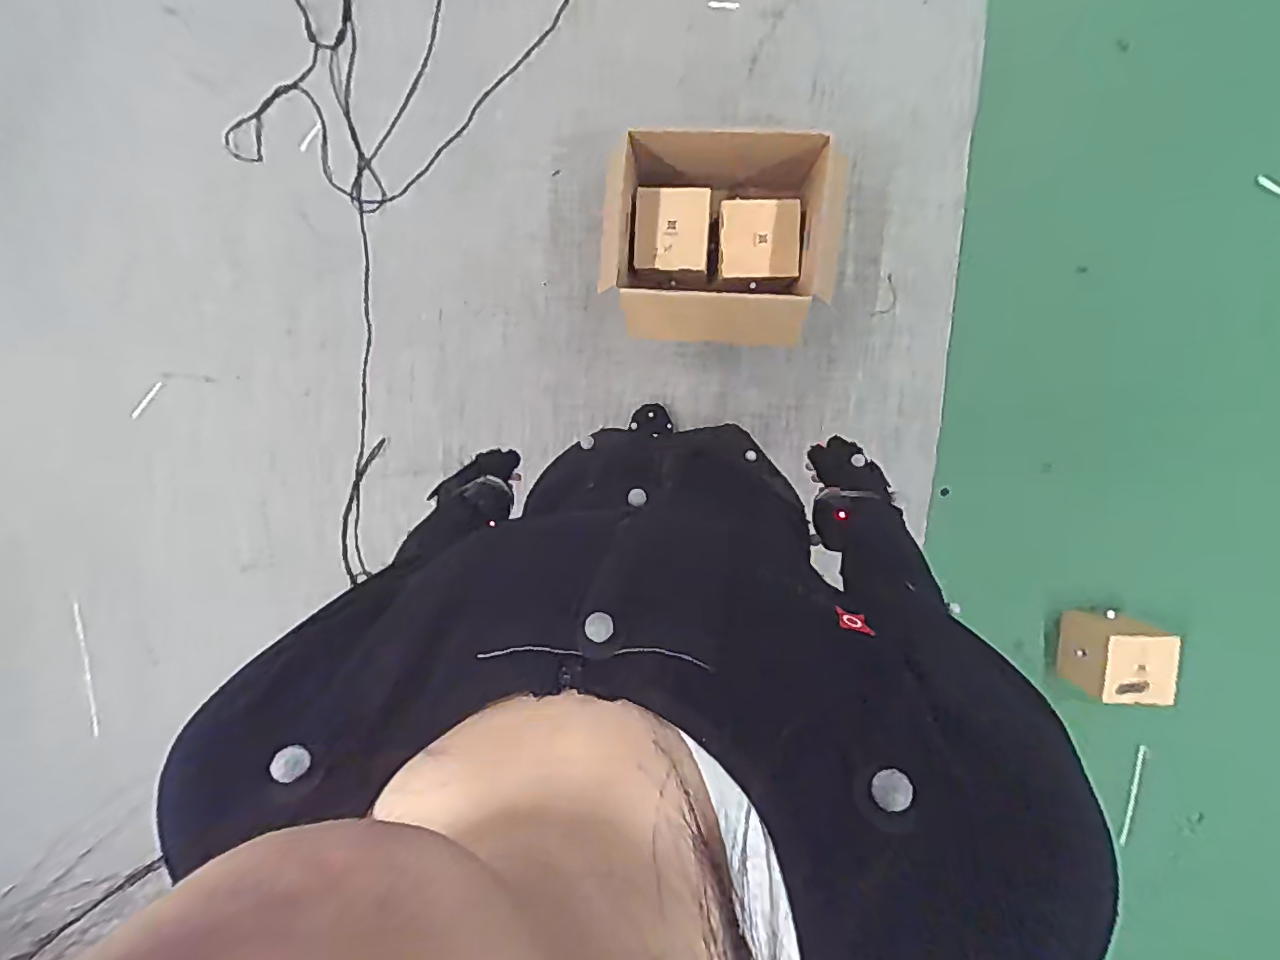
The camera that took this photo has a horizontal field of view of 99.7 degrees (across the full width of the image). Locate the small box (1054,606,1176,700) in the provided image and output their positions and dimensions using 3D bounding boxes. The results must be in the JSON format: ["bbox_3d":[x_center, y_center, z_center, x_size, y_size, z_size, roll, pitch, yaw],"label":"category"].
[{"bbox_3d":[1.210,0.440,1.393,0.168,0.176,0.179,0,98,4],"label":"small box"}]
